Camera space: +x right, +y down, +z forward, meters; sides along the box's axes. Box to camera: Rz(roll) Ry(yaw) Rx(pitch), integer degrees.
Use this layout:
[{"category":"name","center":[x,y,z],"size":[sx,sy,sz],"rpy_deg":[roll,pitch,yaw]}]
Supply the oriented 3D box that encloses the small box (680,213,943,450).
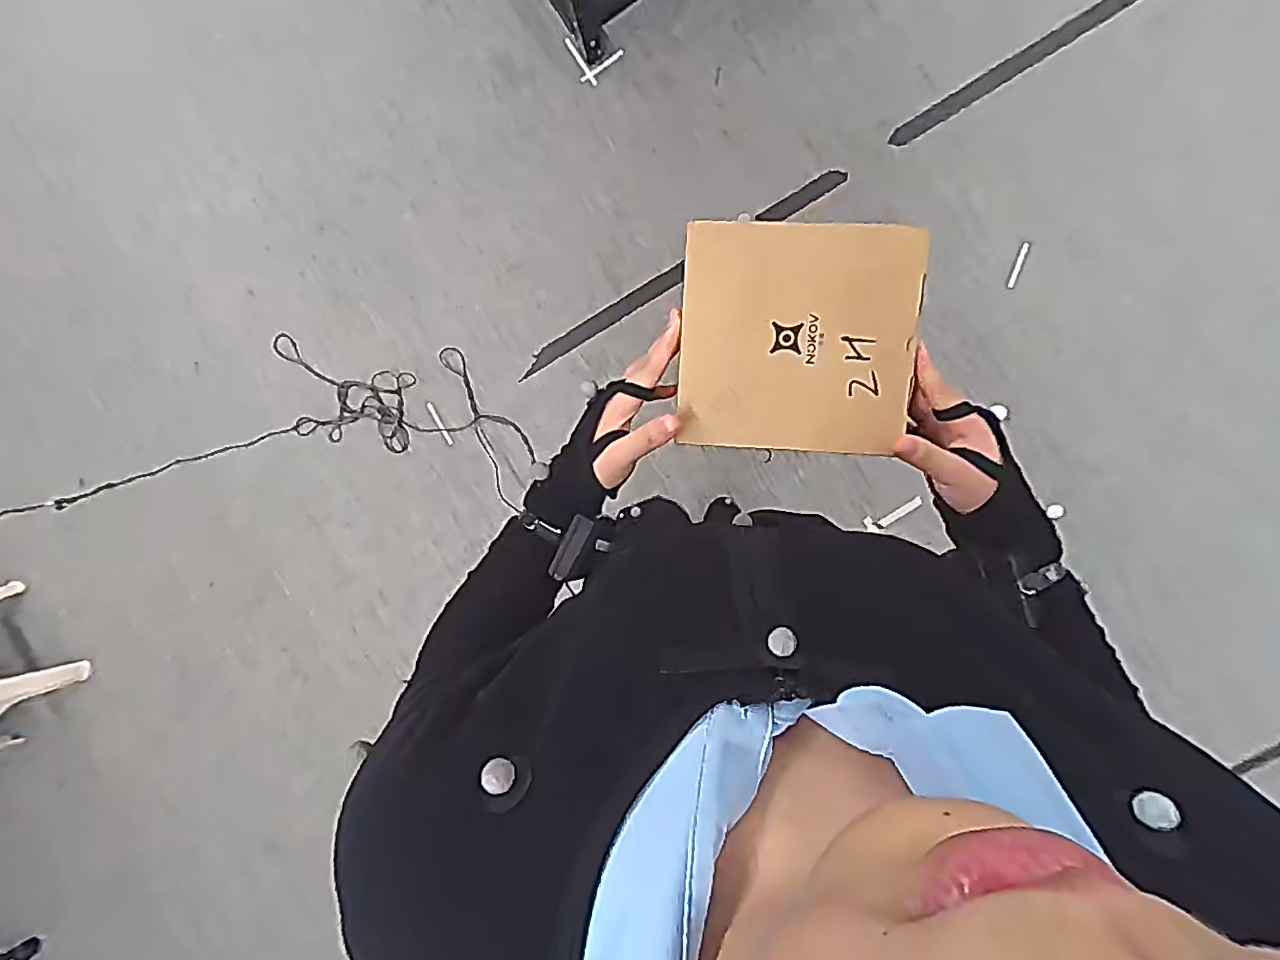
[{"category":"small box","center":[0.129,-0.121,0.476],"size":[0.179,0.176,0.168],"rpy_deg":[4,101,4]}]
